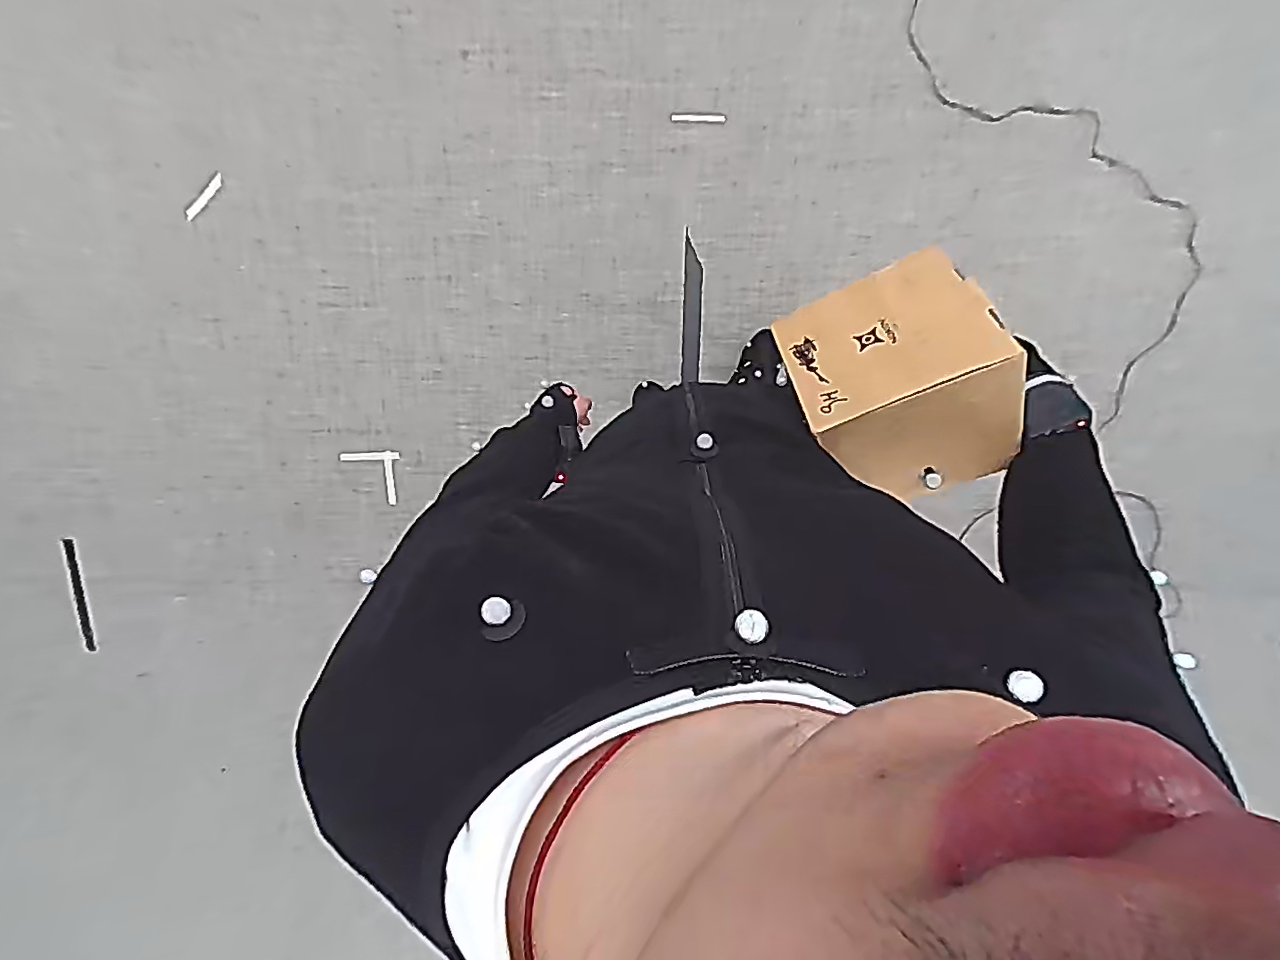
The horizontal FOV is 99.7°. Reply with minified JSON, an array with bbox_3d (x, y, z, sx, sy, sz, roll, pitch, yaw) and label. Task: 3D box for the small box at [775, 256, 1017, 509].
[{"bbox_3d":[0.269,-0.095,0.584,0.179,0.168,0.176,-22,138,18],"label":"small box"}]
